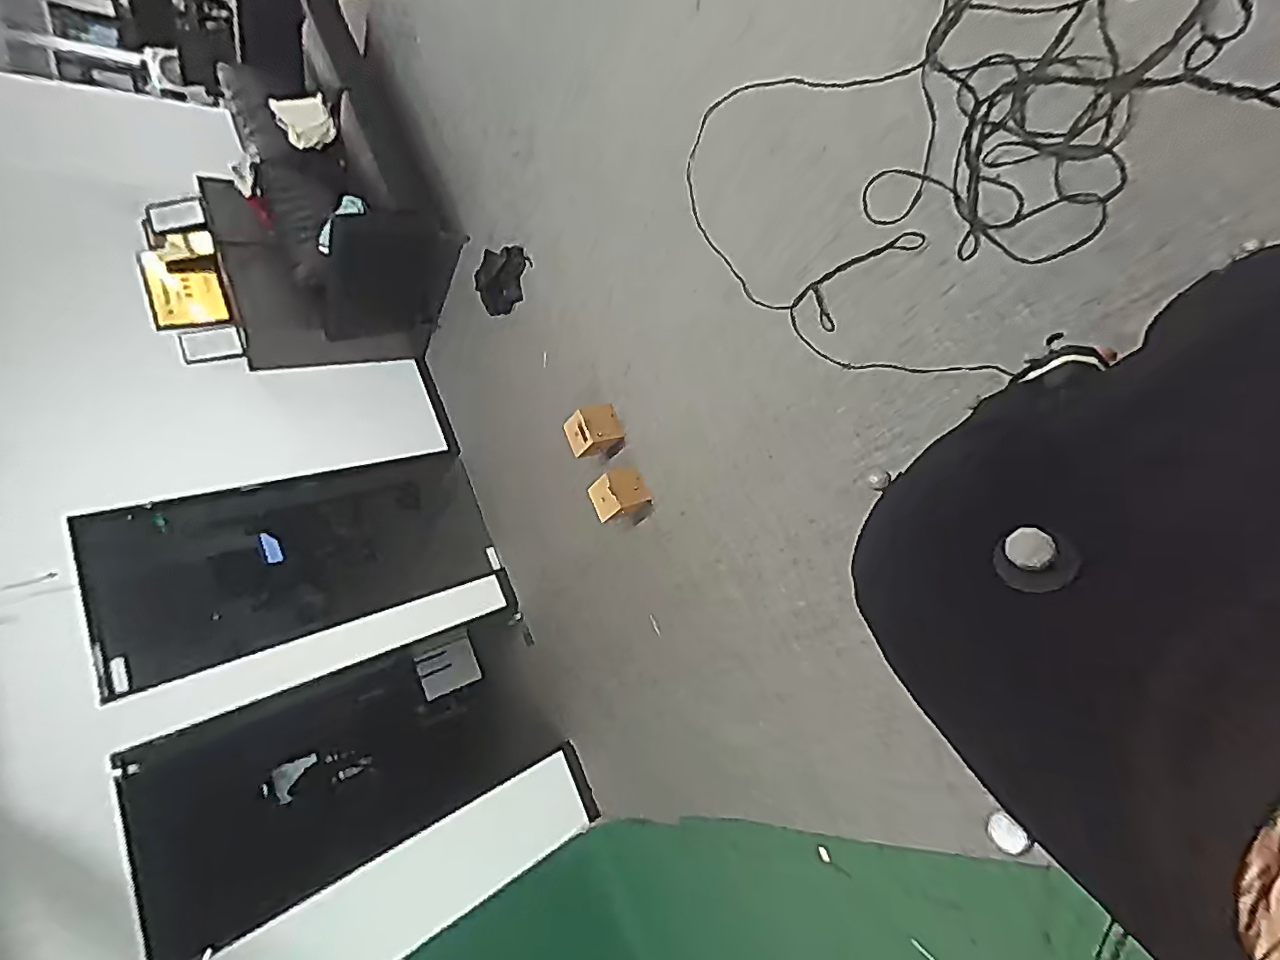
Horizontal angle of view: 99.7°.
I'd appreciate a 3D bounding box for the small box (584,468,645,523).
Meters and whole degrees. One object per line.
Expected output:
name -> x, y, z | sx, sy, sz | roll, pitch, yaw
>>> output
small box -> -0.108, 0.065, 2.301 | 0.179, 0.176, 0.168 | -41, 69, 49
